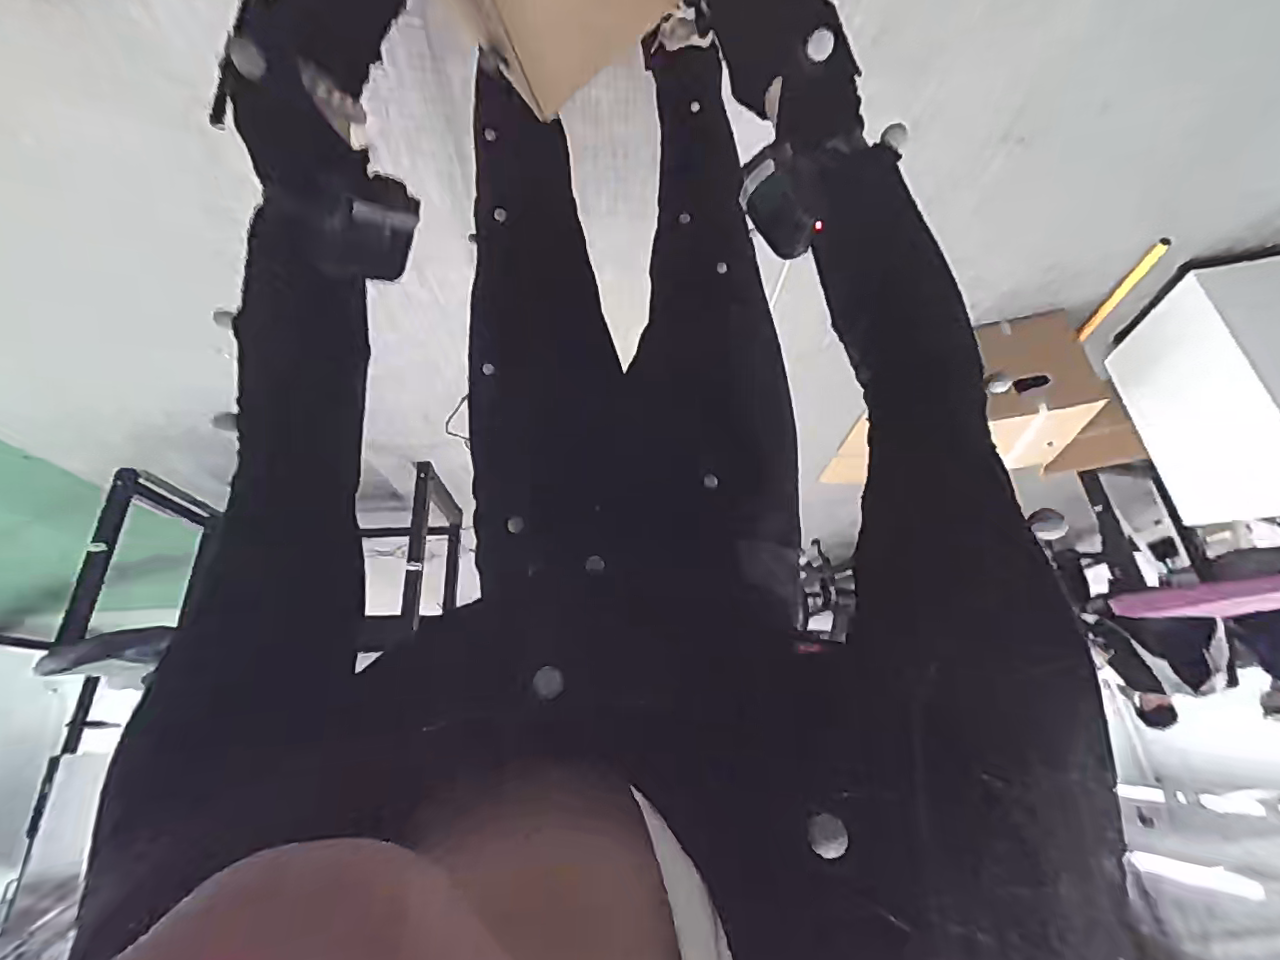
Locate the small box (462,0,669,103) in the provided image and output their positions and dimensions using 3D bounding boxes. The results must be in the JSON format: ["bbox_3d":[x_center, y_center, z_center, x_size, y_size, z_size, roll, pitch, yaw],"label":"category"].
[{"bbox_3d":[-0.063,-0.376,0.294,0.168,0.176,0.179,-37,177,3],"label":"small box"}]
